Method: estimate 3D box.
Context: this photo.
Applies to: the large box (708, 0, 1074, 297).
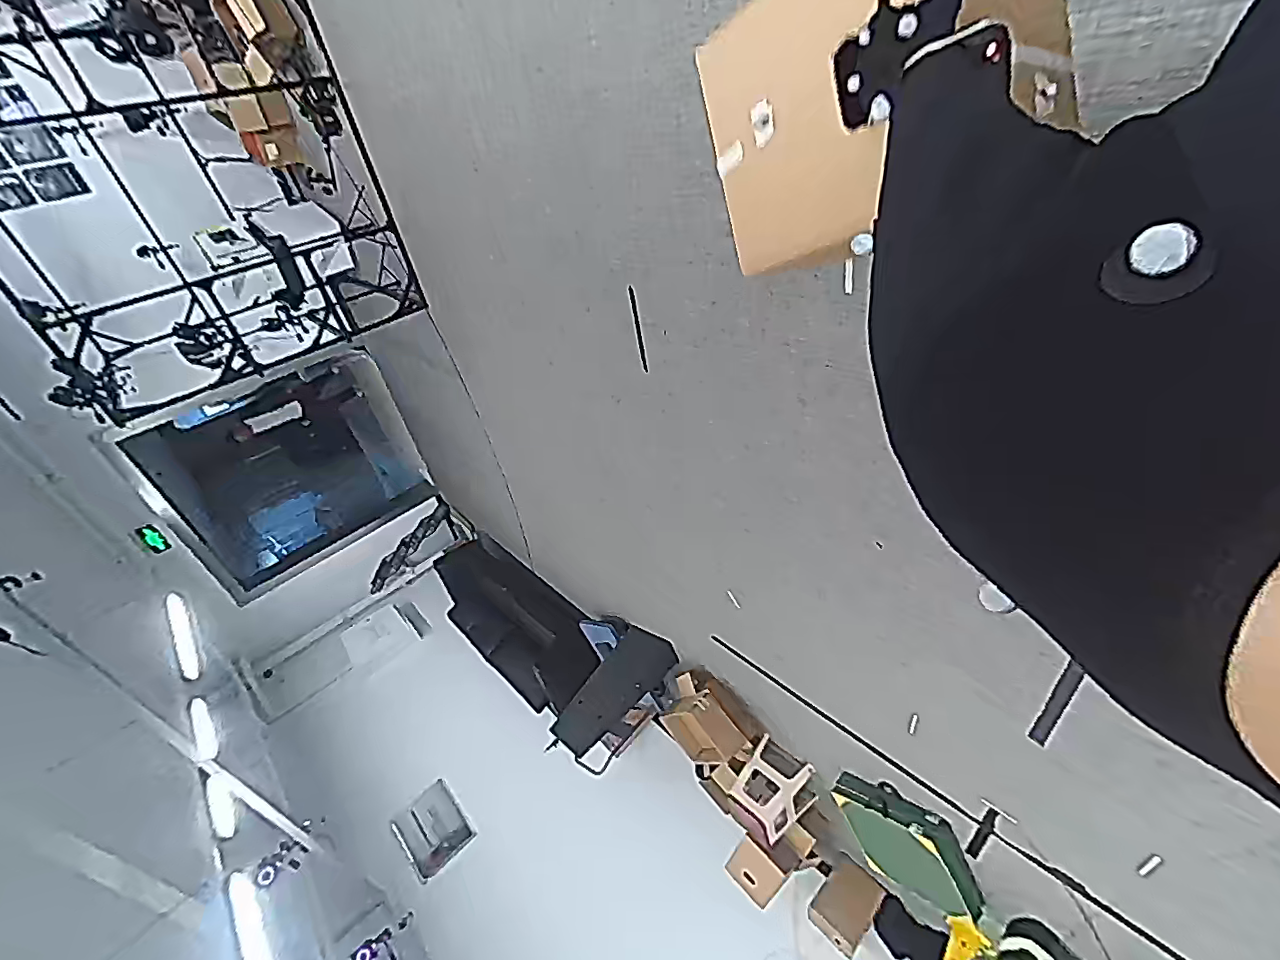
[{"bbox_3d":[0.369,-0.488,0.794,0.320,0.408,0.320,0,108,54],"label":"large box"}]
